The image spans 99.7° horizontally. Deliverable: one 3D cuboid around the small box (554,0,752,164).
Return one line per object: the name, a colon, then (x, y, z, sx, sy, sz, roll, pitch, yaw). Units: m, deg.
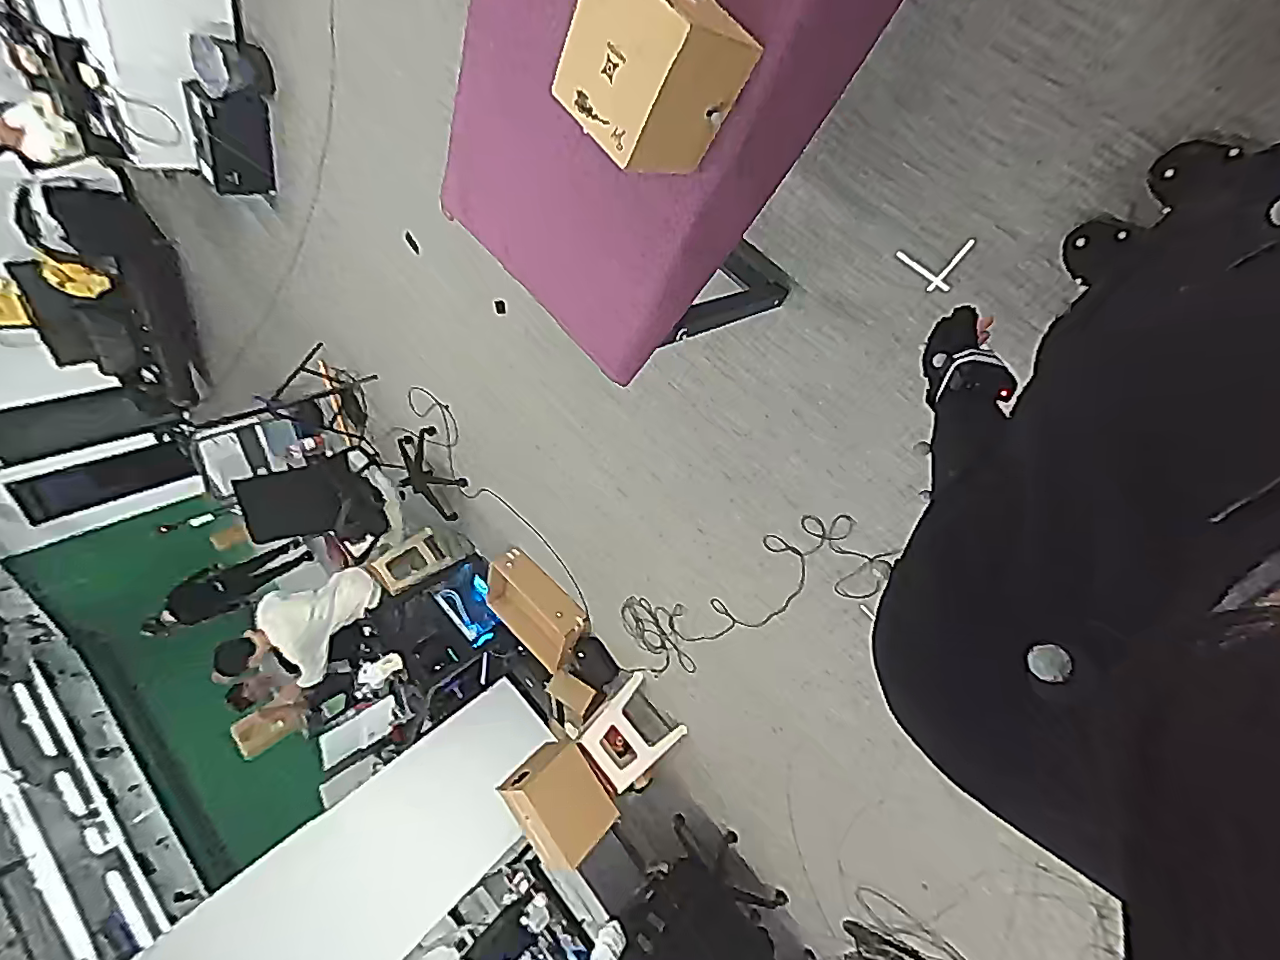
small box: (0.022, -0.552, 0.716, 0.168, 0.176, 0.179, 51, 137, 10)
